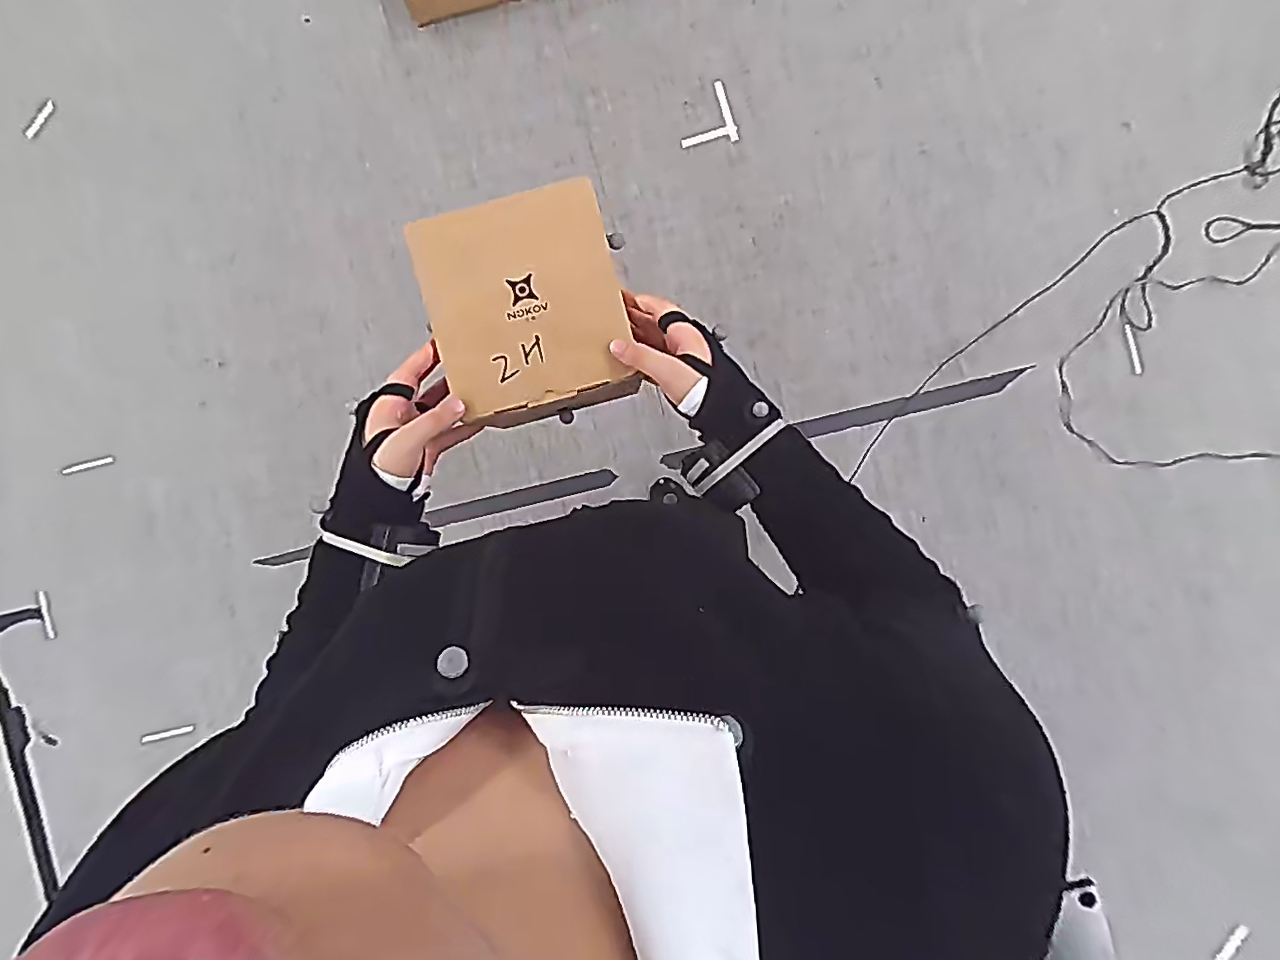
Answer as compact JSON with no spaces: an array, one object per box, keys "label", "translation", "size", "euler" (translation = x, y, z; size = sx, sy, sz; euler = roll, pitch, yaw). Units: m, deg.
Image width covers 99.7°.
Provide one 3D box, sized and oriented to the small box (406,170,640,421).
[{"label":"small box","translation":[-0.102,-0.165,0.541],"size":[0.168,0.176,0.179],"euler":[-15,94,0]}]
